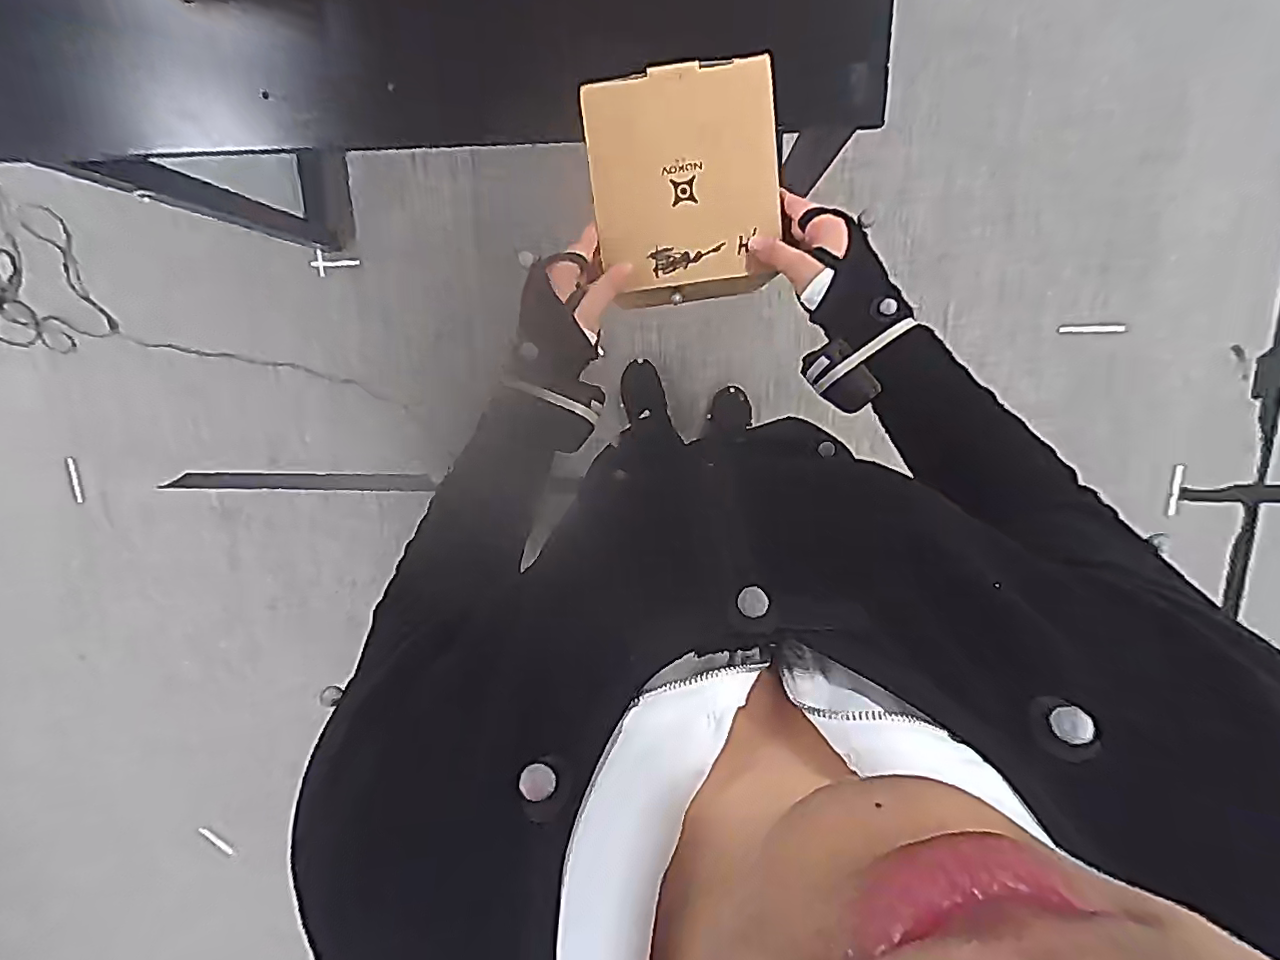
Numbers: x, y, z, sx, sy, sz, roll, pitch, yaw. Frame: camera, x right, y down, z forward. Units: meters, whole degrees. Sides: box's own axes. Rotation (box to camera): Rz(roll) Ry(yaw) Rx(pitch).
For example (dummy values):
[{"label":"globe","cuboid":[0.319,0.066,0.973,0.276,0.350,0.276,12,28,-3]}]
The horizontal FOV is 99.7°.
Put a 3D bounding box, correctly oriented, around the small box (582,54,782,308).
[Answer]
[{"label":"small box","cuboid":[0.042,-0.284,0.556,0.168,0.176,0.179,-7,102,5]}]
